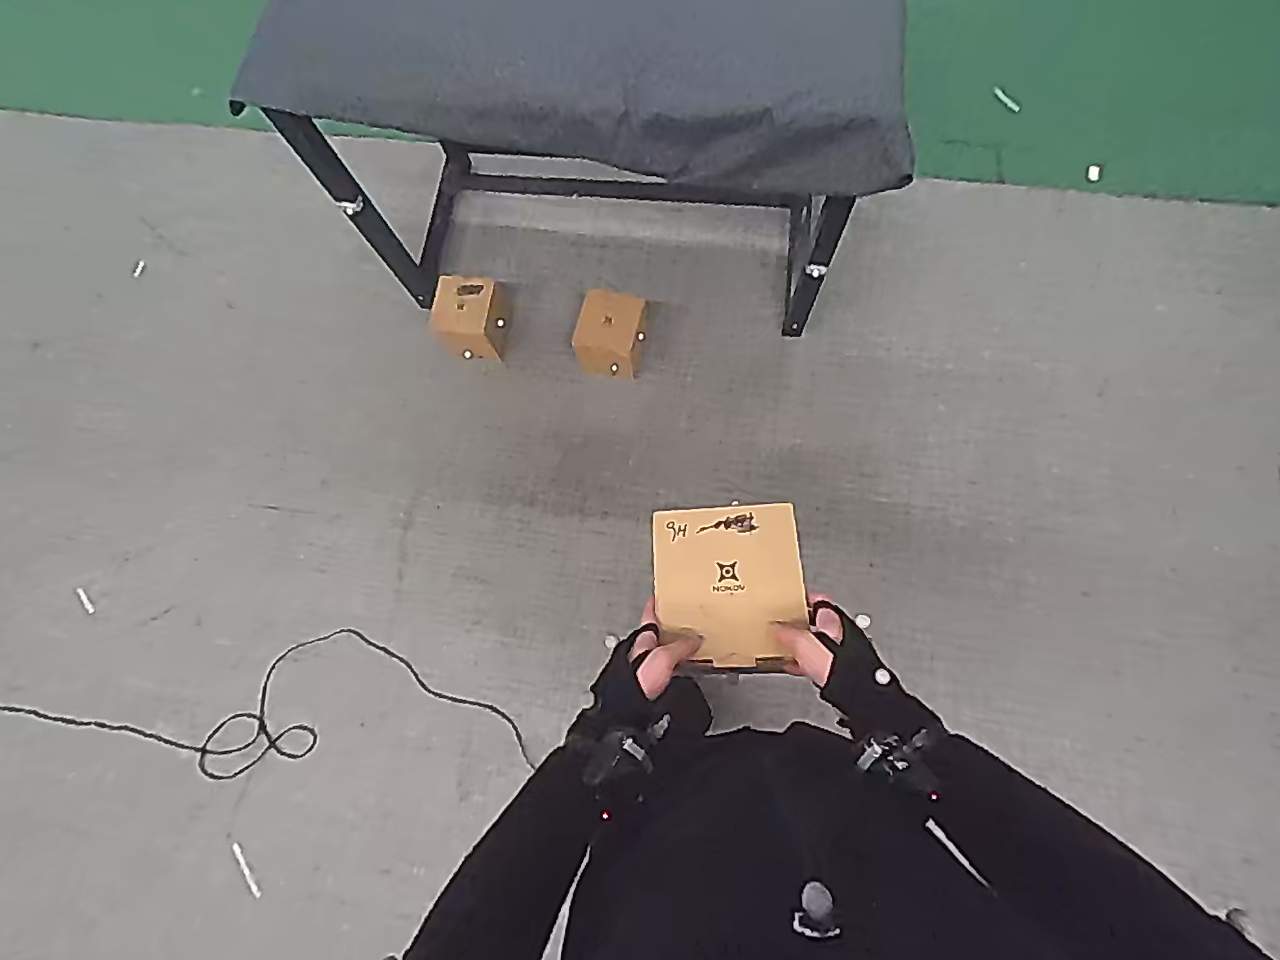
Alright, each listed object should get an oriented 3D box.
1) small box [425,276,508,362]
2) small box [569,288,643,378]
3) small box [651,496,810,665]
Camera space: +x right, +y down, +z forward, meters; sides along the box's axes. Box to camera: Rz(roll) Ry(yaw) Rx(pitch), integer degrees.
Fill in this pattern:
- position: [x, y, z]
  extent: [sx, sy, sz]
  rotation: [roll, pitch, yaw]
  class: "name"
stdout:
- position: [-0.497, -0.467, 1.578]
  extent: [0.168, 0.176, 0.179]
  rotation: [5, 77, 6]
  class: "small box"
- position: [-0.089, -0.412, 1.539]
  extent: [0.168, 0.176, 0.179]
  rotation: [12, 75, 6]
  class: "small box"
- position: [0.106, 0.133, 0.665]
  extent: [0.168, 0.176, 0.179]
  rotation: [-4, 68, 7]
  class: "small box"
